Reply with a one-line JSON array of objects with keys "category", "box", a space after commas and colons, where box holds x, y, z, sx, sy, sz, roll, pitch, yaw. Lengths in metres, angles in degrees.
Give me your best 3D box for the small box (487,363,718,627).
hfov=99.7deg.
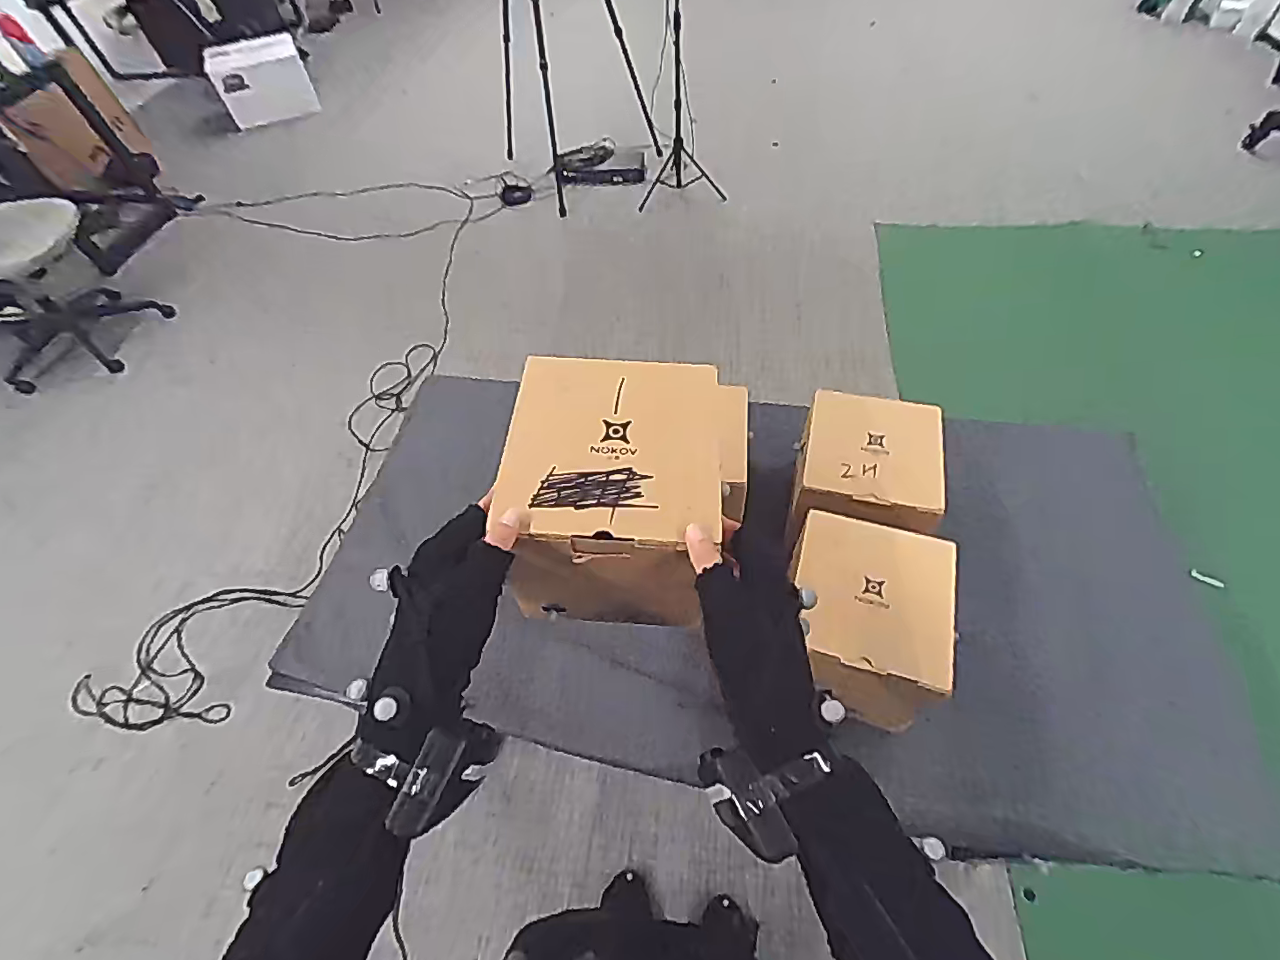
[{"category": "small box", "box": [-0.020, 0.019, 0.484, 0.168, 0.176, 0.179, 3, 55, 2]}]
